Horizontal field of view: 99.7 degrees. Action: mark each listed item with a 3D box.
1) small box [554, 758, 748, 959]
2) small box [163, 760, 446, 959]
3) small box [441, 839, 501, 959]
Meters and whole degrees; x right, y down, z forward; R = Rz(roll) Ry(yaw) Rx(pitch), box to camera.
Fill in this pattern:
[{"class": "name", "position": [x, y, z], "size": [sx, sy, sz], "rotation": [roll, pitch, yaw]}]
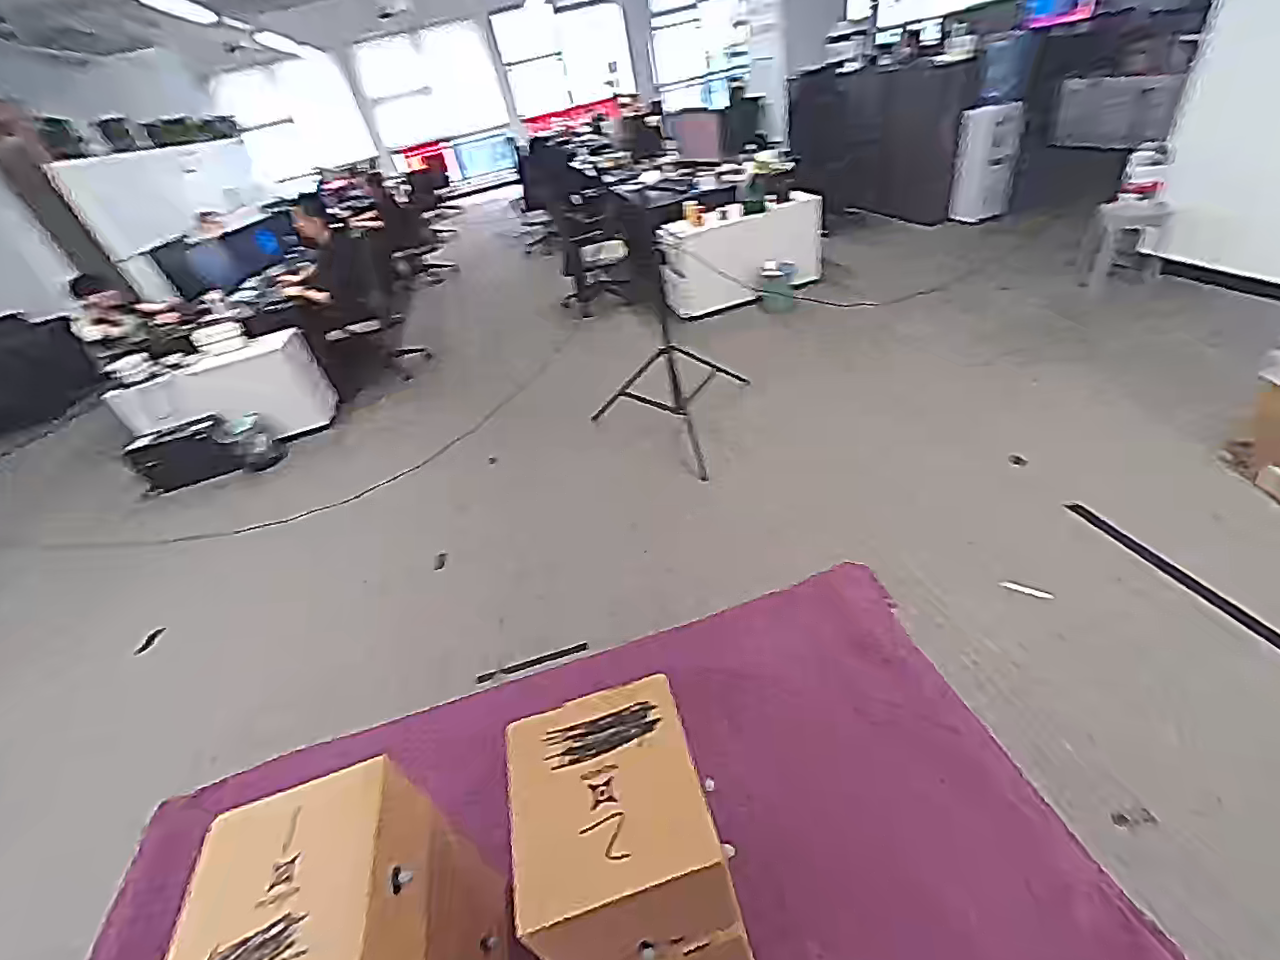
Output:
[{"class": "small box", "position": [0.012, 0.462, 0.612], "size": [0.168, 0.176, 0.179], "rotation": [-18, 36, -5]}, {"class": "small box", "position": [-0.292, 0.409, 0.503], "size": [0.168, 0.176, 0.179], "rotation": [-18, 36, -7]}, {"class": "small box", "position": [-0.259, 0.541, 0.596], "size": [0.179, 0.176, 0.168], "rotation": [-18, 36, -5]}]
